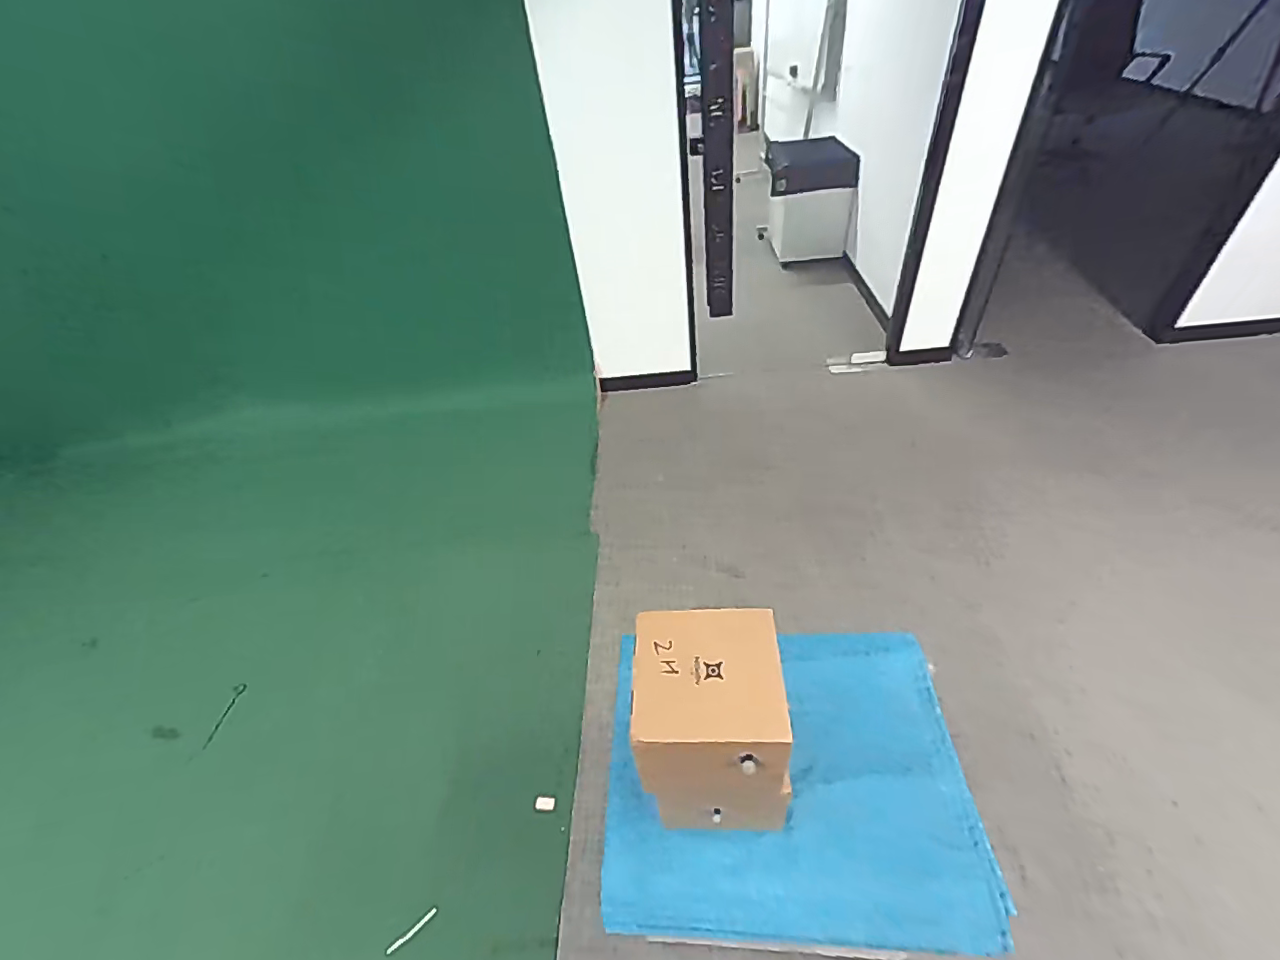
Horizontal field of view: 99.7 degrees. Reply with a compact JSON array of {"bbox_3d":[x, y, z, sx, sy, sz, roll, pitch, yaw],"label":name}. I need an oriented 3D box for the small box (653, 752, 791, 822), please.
[{"bbox_3d":[0.115,0.384,0.793,0.179,0.176,0.168,-3,43,7],"label":"small box"}]

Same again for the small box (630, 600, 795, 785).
[{"bbox_3d":[0.087,0.267,0.680,0.179,0.176,0.168,-3,43,6],"label":"small box"}]
